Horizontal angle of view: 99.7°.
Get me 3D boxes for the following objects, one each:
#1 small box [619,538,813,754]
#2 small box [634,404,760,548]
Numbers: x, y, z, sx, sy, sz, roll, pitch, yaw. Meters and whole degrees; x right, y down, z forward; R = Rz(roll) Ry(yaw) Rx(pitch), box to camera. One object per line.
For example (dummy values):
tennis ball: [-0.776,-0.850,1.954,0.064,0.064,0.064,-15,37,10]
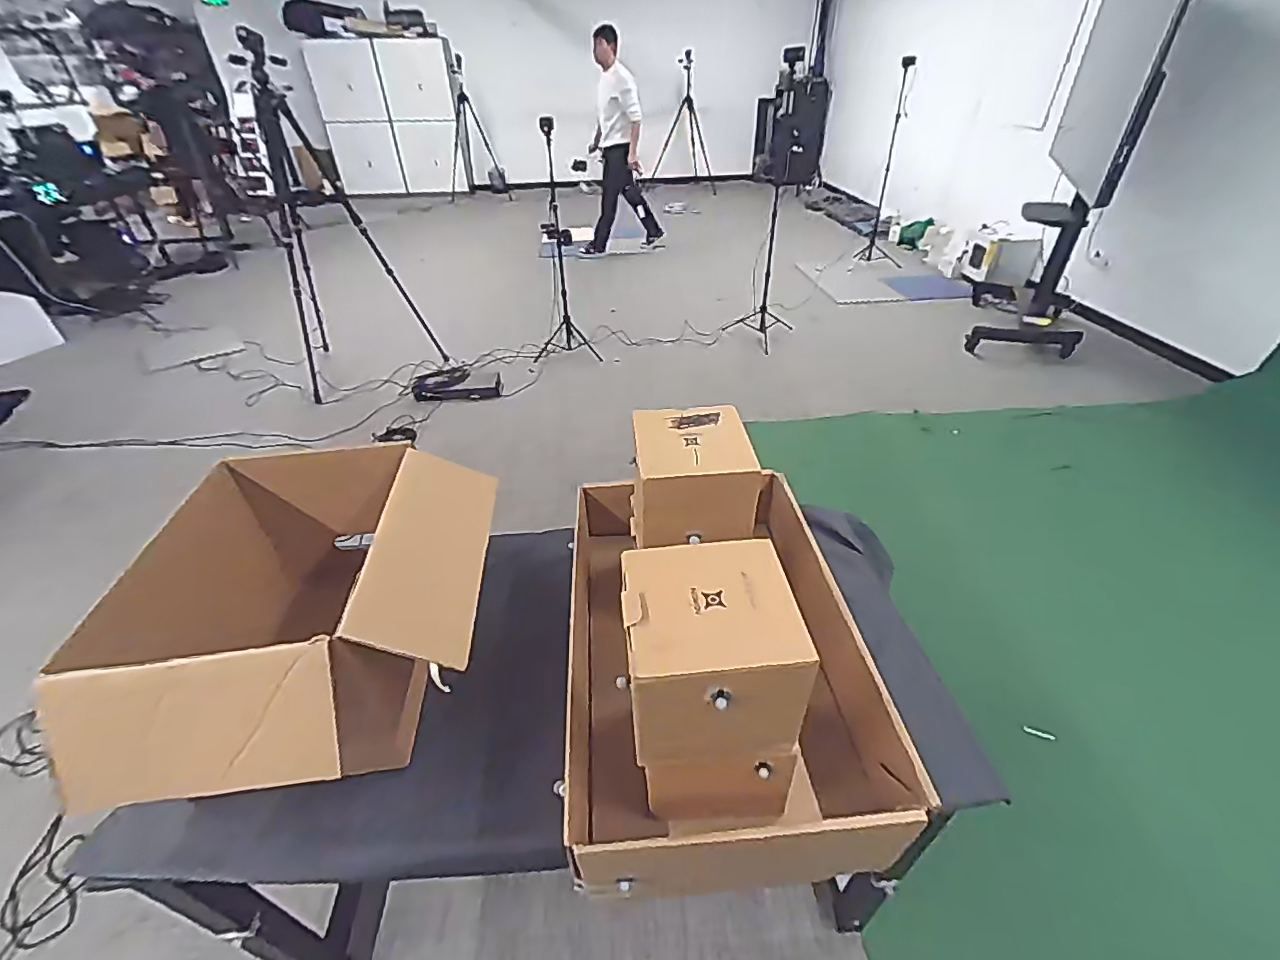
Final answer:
small box: [0.072,0.187,0.609,0.179,0.176,0.168,-4,39,-4]
small box: [0.077,0.000,0.838,0.168,0.176,0.179,-4,40,-3]
